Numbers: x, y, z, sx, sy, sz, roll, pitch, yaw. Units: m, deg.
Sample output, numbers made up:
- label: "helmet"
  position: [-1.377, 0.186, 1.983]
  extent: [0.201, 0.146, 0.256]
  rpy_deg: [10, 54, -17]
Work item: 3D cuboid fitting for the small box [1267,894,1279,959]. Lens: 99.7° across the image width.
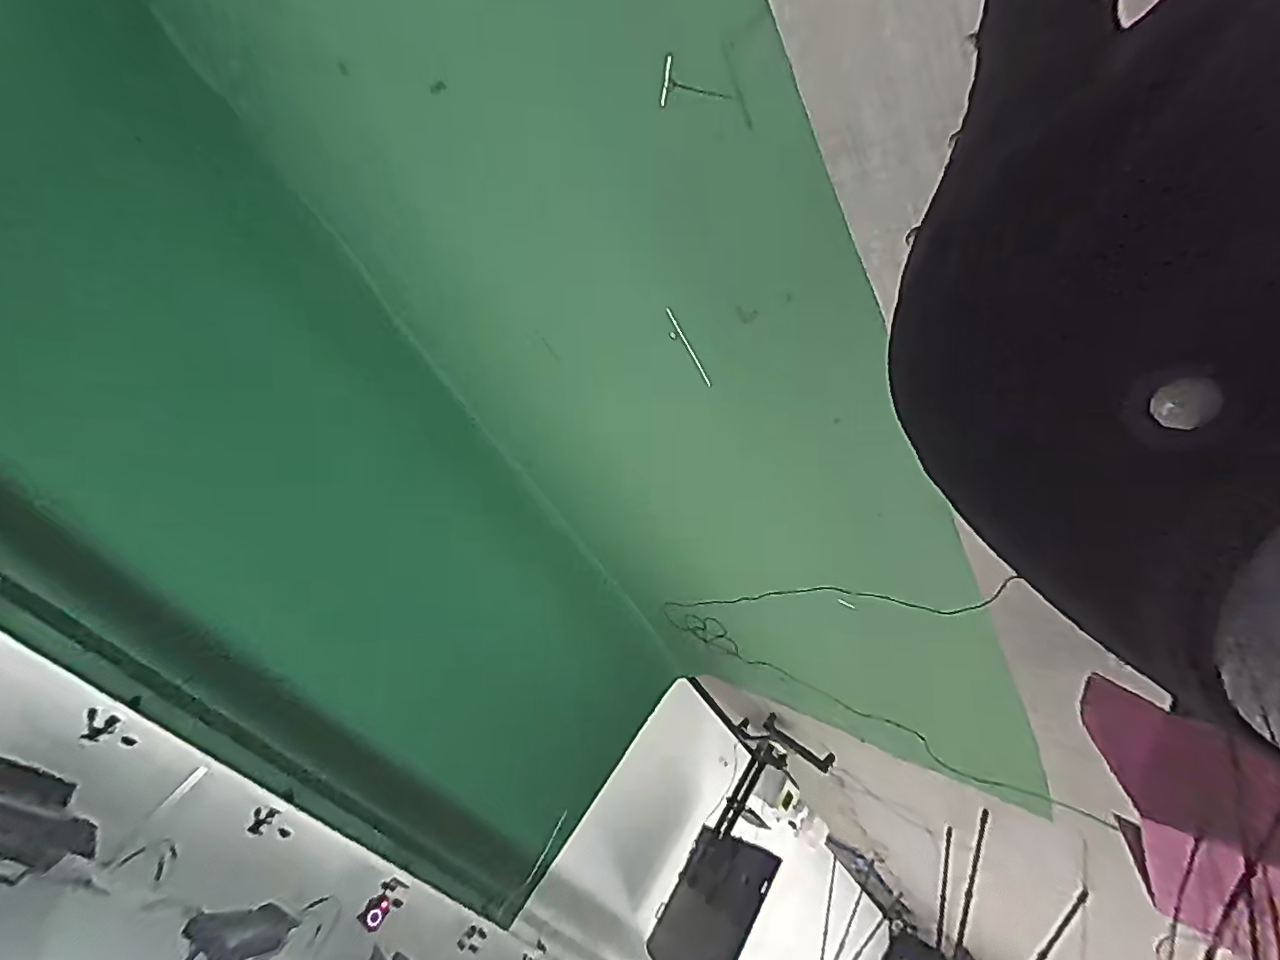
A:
- label: "small box"
  position: [1.421, 1.007, 1.106]
  extent: [0.179, 0.176, 0.168]
  rpy_deg: [0, 132, 52]
